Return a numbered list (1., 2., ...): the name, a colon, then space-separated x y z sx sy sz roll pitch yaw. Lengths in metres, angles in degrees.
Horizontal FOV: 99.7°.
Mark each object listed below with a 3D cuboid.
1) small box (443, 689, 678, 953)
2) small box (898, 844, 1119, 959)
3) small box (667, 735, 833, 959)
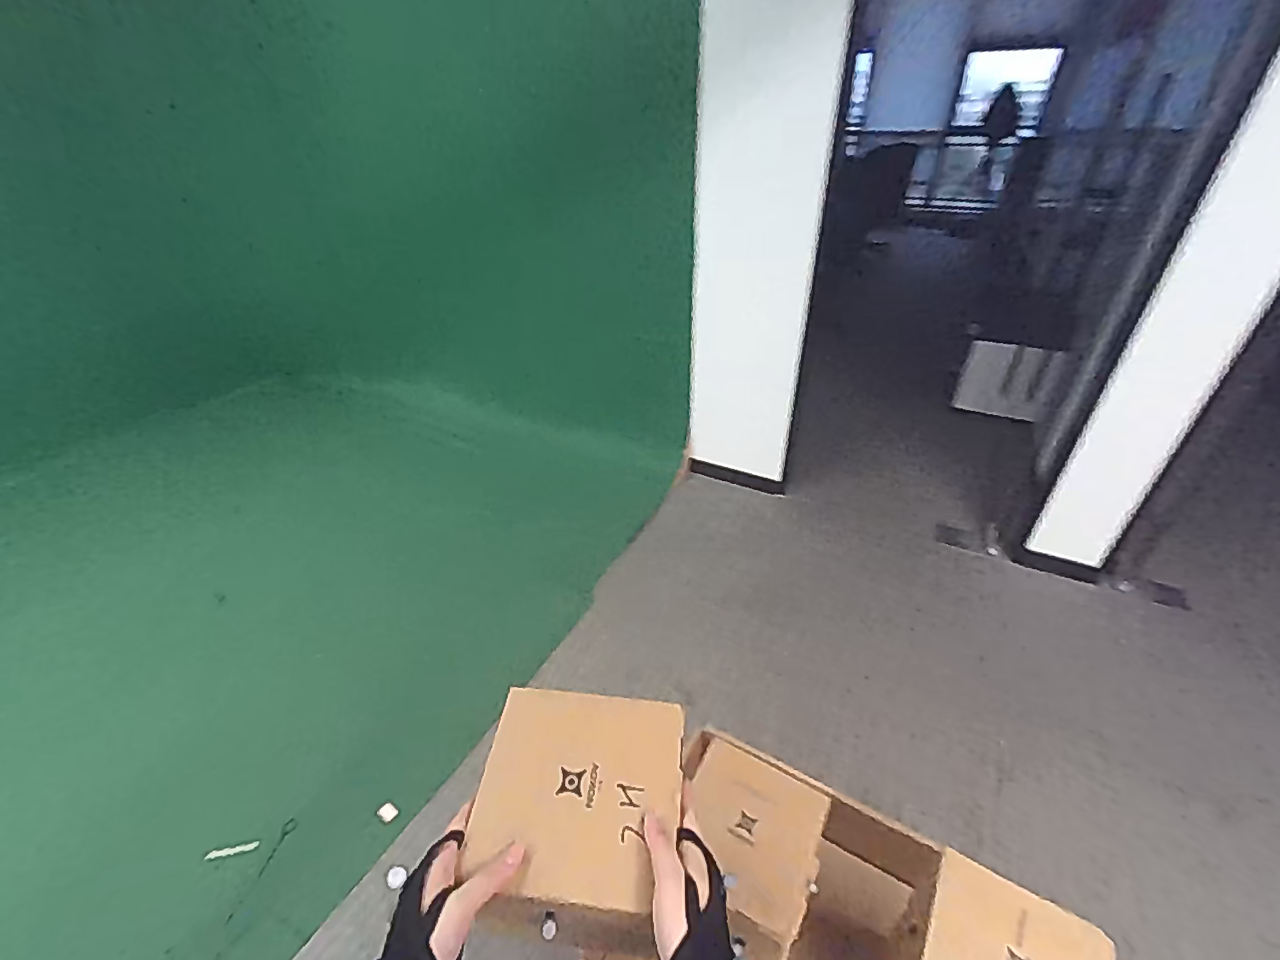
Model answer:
1. small box: -0.058 0.326 0.521 0.179 0.176 0.168 4 41 5
2. small box: 0.389 0.565 0.595 0.168 0.176 0.179 20 41 29
3. small box: 0.138 0.492 0.717 0.168 0.176 0.179 19 40 27
